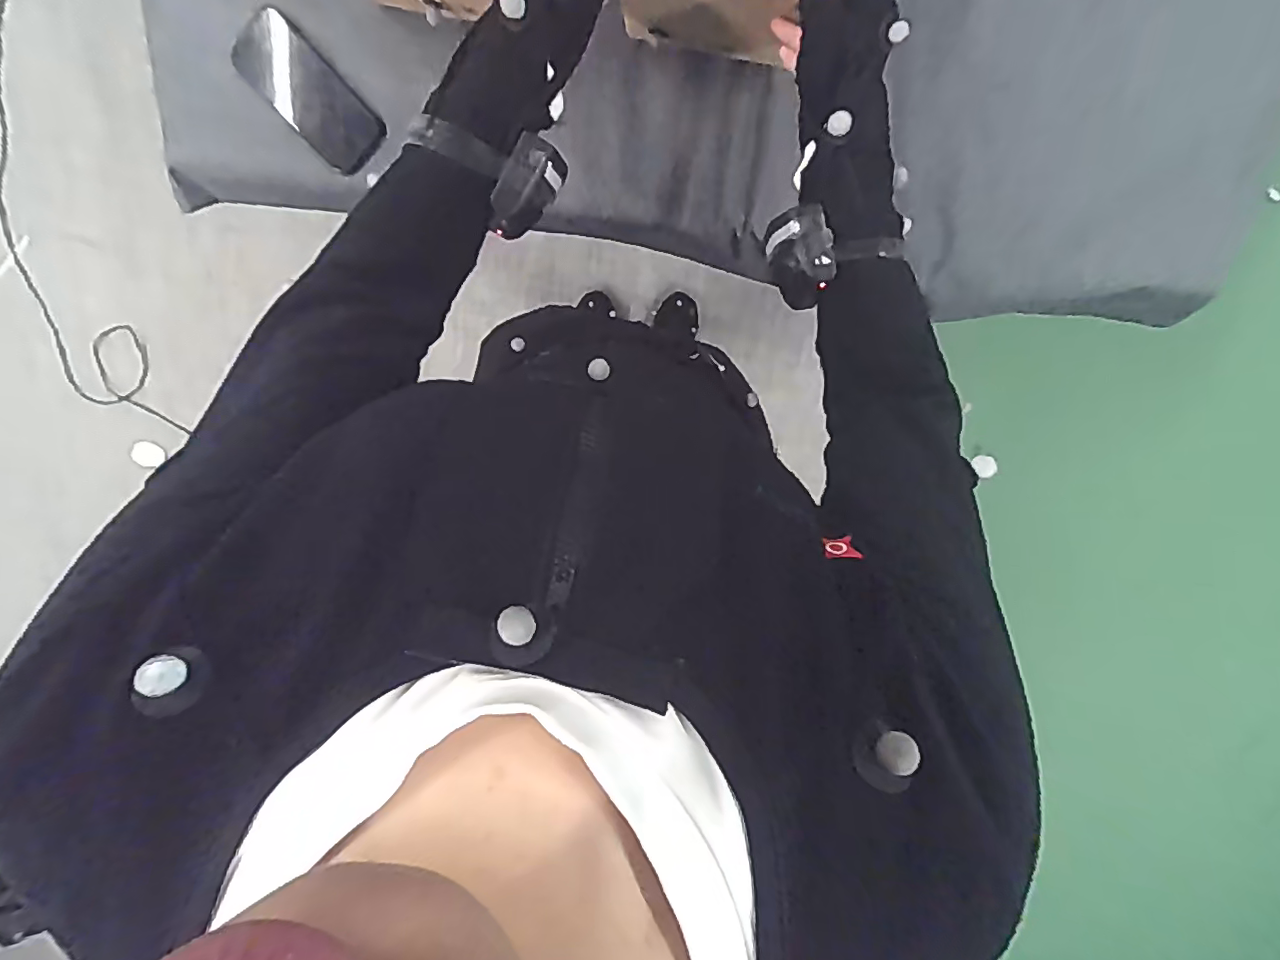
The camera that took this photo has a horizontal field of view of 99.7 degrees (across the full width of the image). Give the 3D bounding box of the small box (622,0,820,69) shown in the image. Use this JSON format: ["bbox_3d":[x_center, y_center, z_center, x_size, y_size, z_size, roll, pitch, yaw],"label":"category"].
[{"bbox_3d":[0.077,-0.470,0.435,0.168,0.176,0.179,11,110,-1],"label":"small box"}]
